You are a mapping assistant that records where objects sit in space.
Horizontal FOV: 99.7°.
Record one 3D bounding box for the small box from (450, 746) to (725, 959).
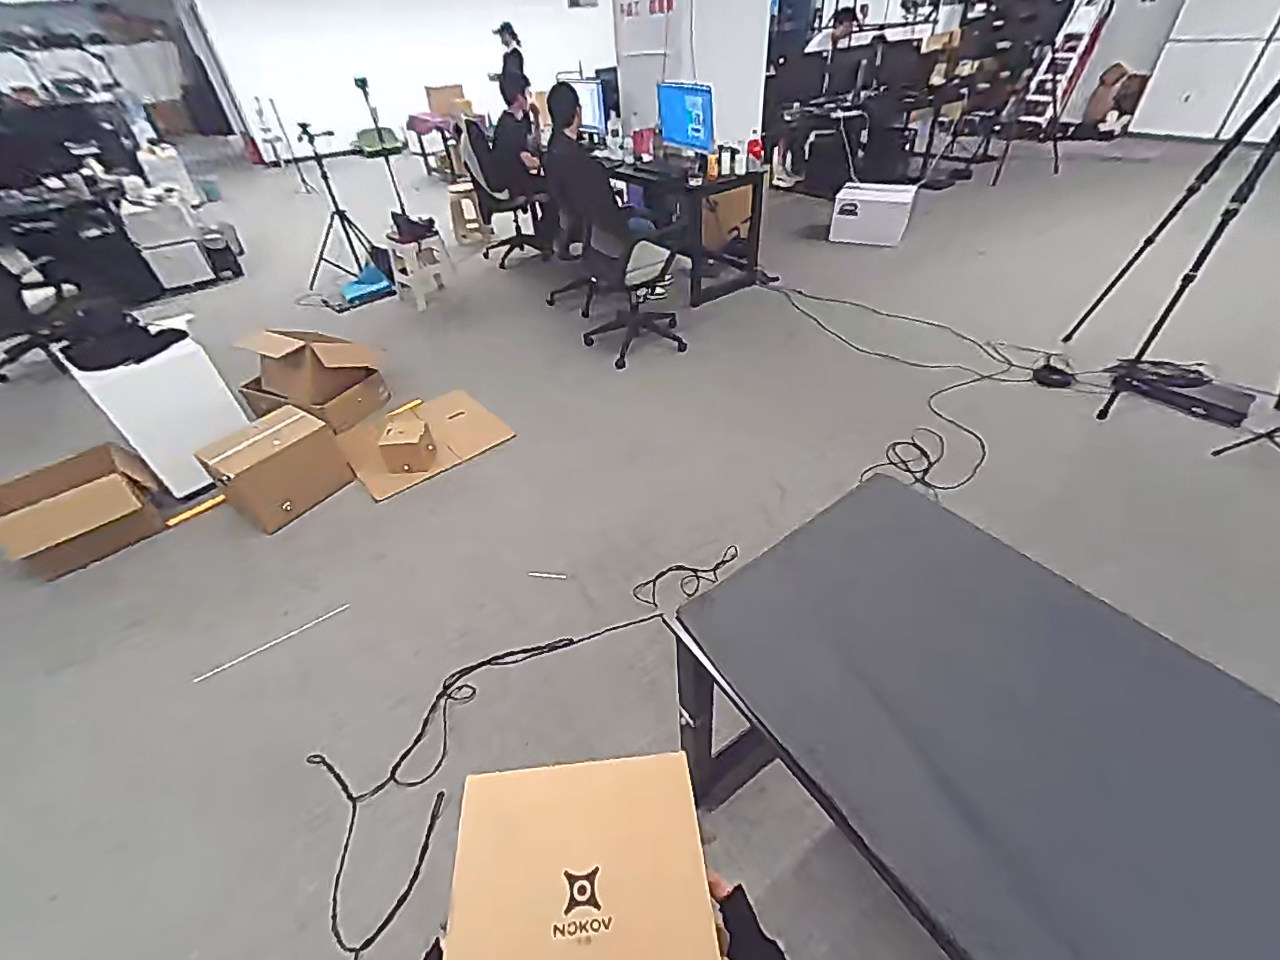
[{"bbox_3d":[-0.036,0.325,0.395,0.168,0.176,0.179,-4,42,-5],"label":"small box"}]
